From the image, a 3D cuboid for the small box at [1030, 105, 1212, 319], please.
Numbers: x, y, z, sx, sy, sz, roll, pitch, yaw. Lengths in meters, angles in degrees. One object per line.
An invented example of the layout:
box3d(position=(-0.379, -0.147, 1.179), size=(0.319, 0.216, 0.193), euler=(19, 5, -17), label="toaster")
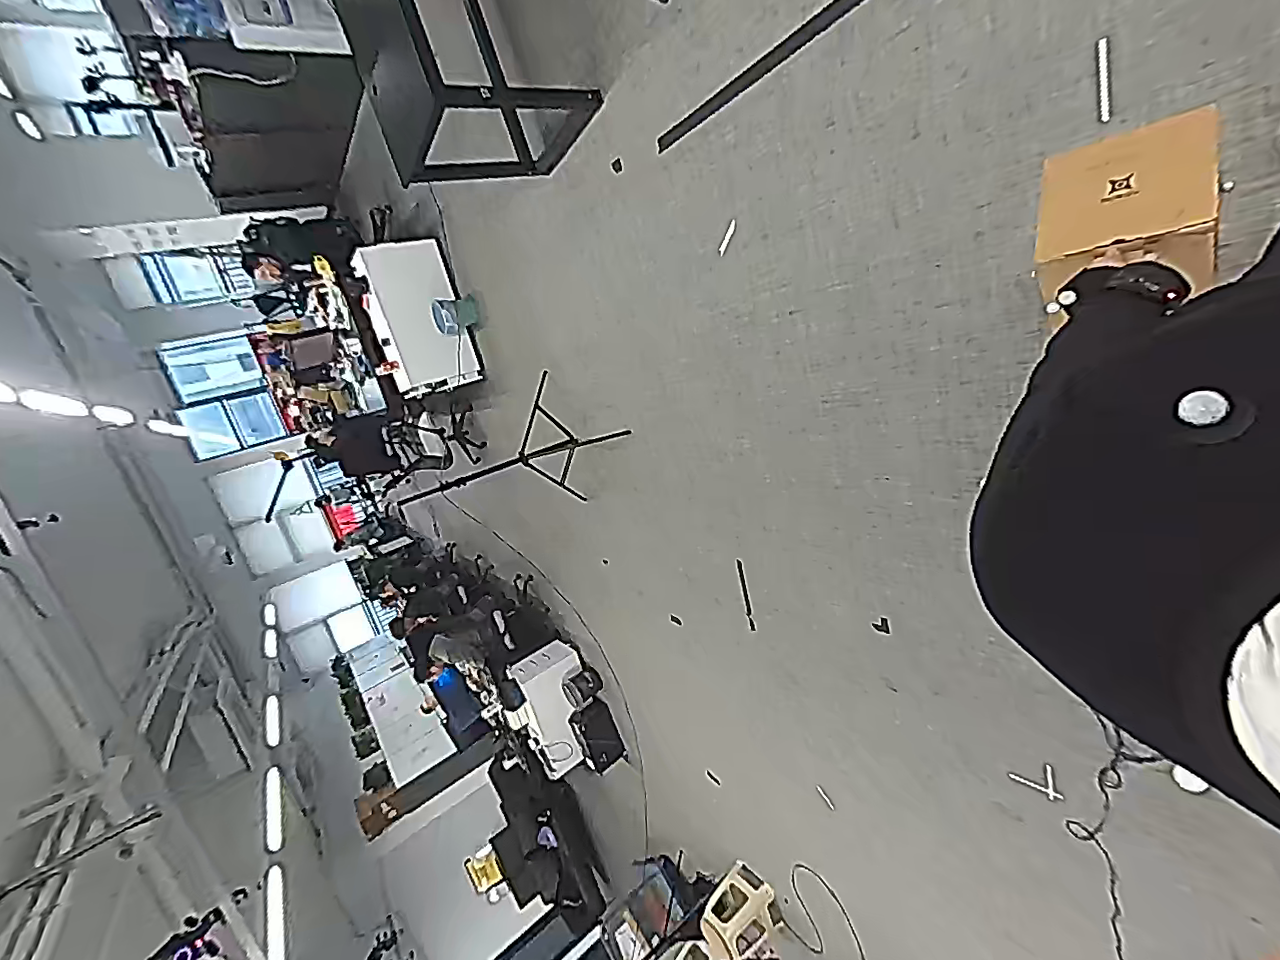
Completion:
box3d(position=(0.641, -0.334, 0.722), size=(0.168, 0.176, 0.179), euler=(2, 71, 44), label="small box")
